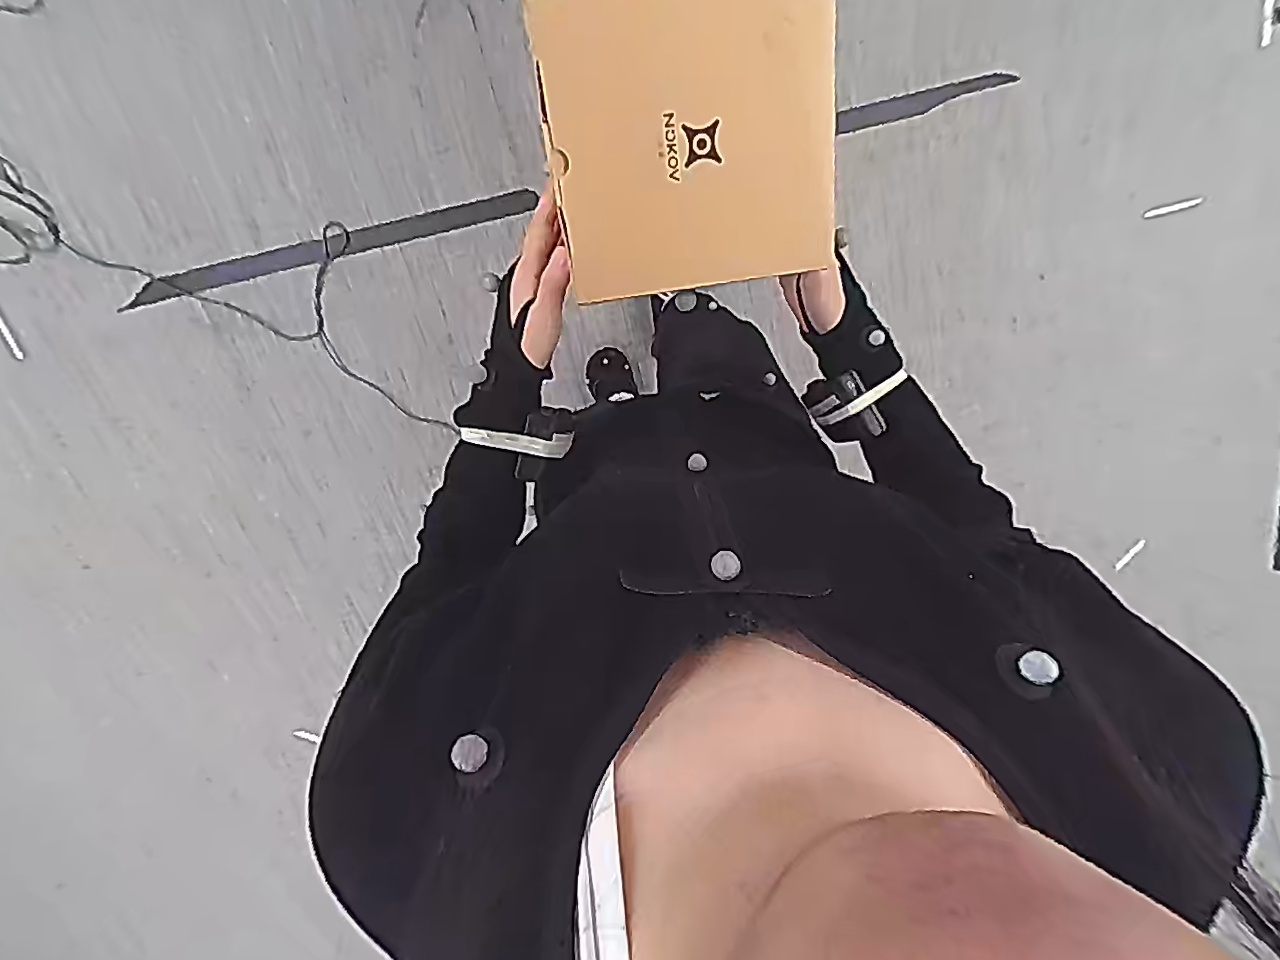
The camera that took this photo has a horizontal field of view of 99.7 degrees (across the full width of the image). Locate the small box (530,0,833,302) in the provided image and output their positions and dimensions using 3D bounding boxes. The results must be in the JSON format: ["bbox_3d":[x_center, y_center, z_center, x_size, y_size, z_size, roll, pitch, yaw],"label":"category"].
[{"bbox_3d":[0.027,-0.236,0.406,0.179,0.176,0.168,-8,113,0],"label":"small box"}]
